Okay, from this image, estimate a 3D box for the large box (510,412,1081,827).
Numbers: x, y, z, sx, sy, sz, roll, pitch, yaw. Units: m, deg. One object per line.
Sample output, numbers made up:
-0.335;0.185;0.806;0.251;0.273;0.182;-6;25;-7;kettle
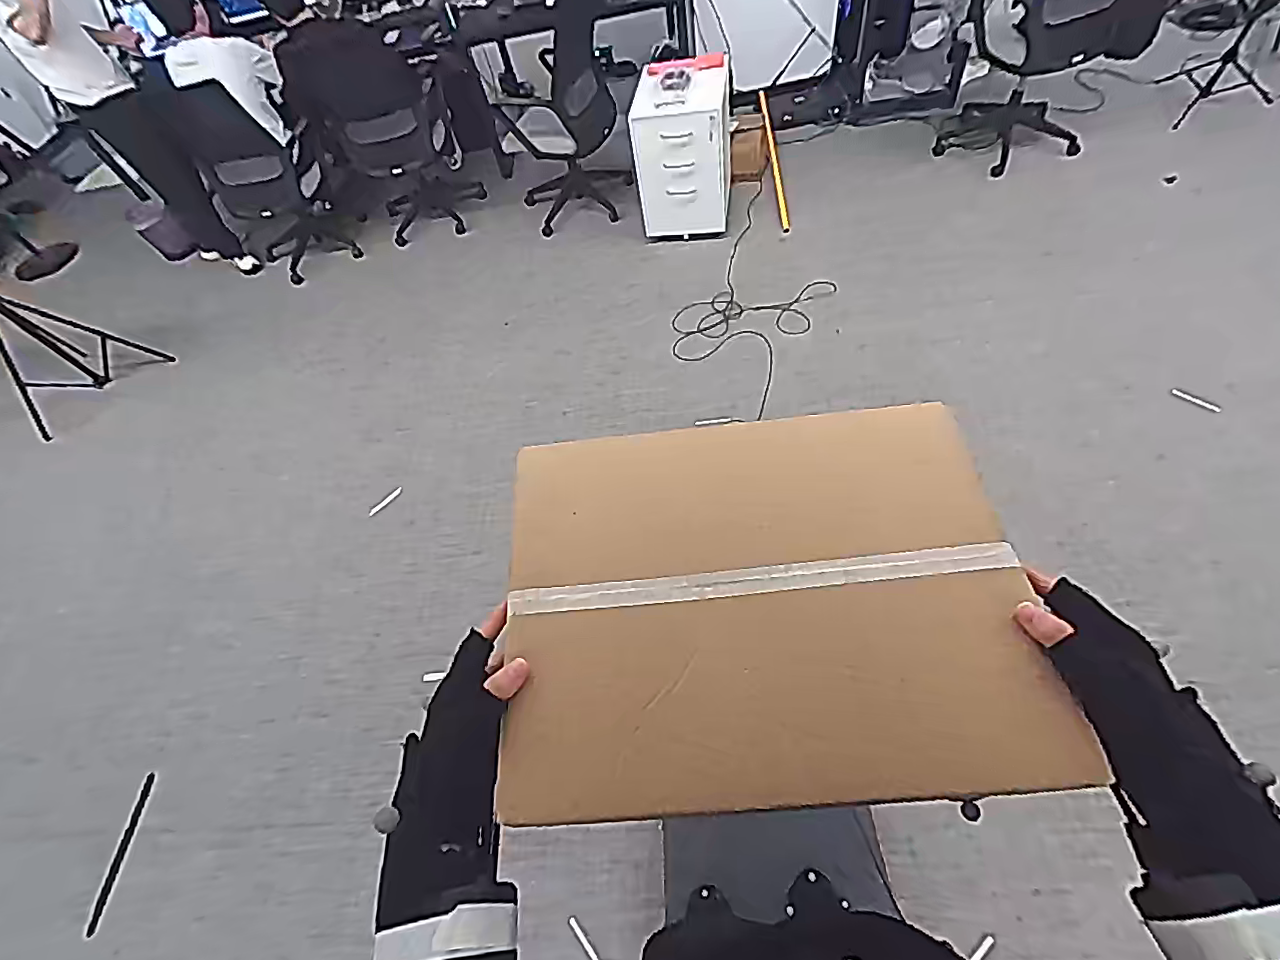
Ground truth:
0.110;0.162;0.576;0.408;0.320;0.320;-7;59;4;large box
